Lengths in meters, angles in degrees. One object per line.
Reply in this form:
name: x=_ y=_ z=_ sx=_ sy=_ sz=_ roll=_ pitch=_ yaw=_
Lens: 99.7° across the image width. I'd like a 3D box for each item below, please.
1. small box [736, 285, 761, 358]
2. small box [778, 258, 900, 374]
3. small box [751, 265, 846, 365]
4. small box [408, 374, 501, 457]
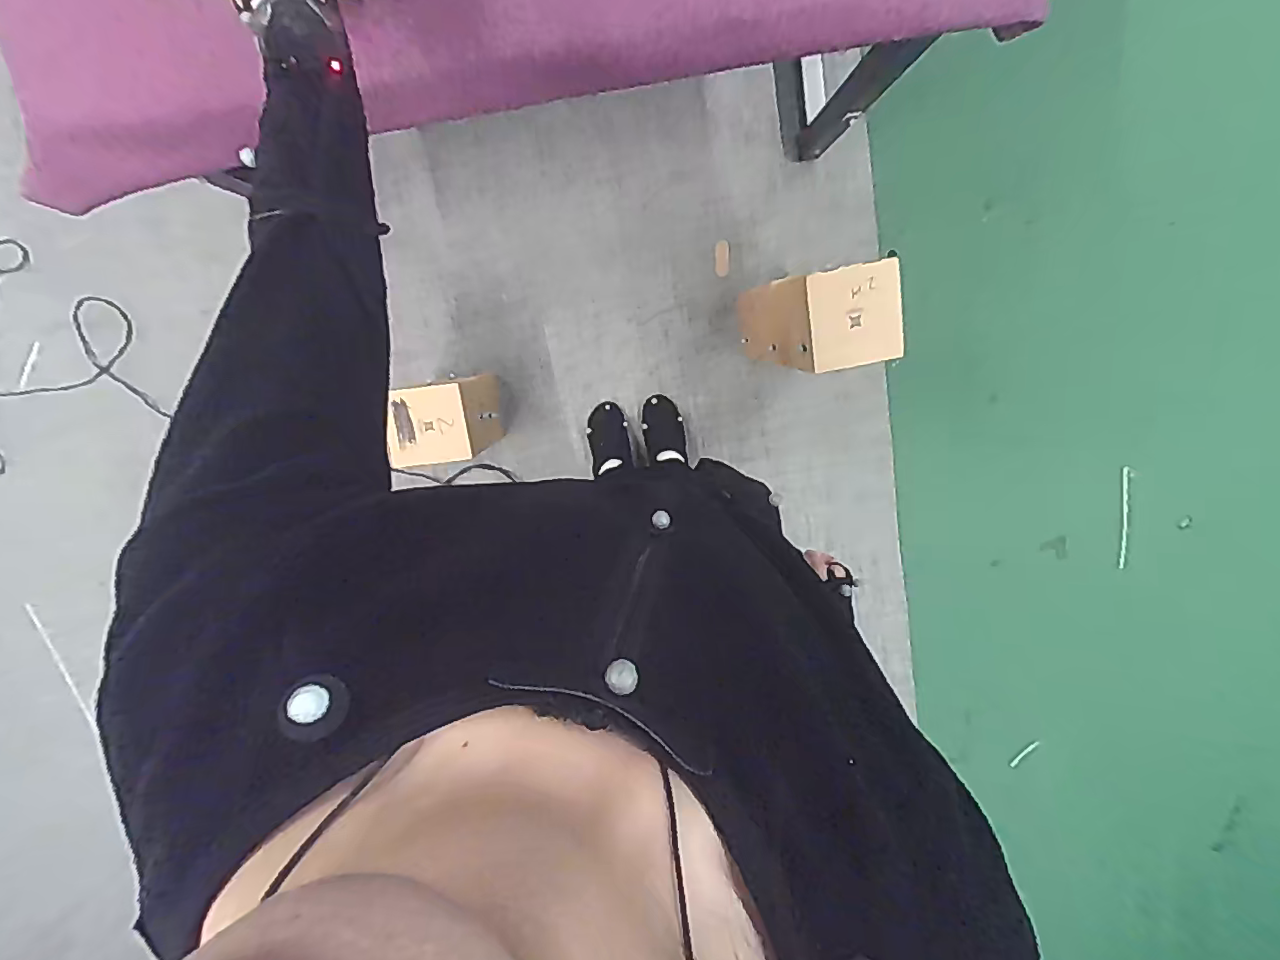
small box: x=0.341 y=-0.398 z=1.345 sx=0.179 sy=0.176 sz=0.168 roll=-9 pitch=104 yaw=0
small box: x=0.373 y=-0.310 z=1.032 sx=0.168 sy=0.176 sz=0.179 roll=-11 pitch=105 yaw=1
small box: x=0.352 y=-0.357 z=1.189 sx=0.168 sy=0.176 sz=0.179 roll=-12 pitch=105 yaw=1
small box: x=-0.463 y=-0.169 z=1.376 sx=0.168 sy=0.176 sz=0.179 roll=-7 pitch=105 yaw=0
